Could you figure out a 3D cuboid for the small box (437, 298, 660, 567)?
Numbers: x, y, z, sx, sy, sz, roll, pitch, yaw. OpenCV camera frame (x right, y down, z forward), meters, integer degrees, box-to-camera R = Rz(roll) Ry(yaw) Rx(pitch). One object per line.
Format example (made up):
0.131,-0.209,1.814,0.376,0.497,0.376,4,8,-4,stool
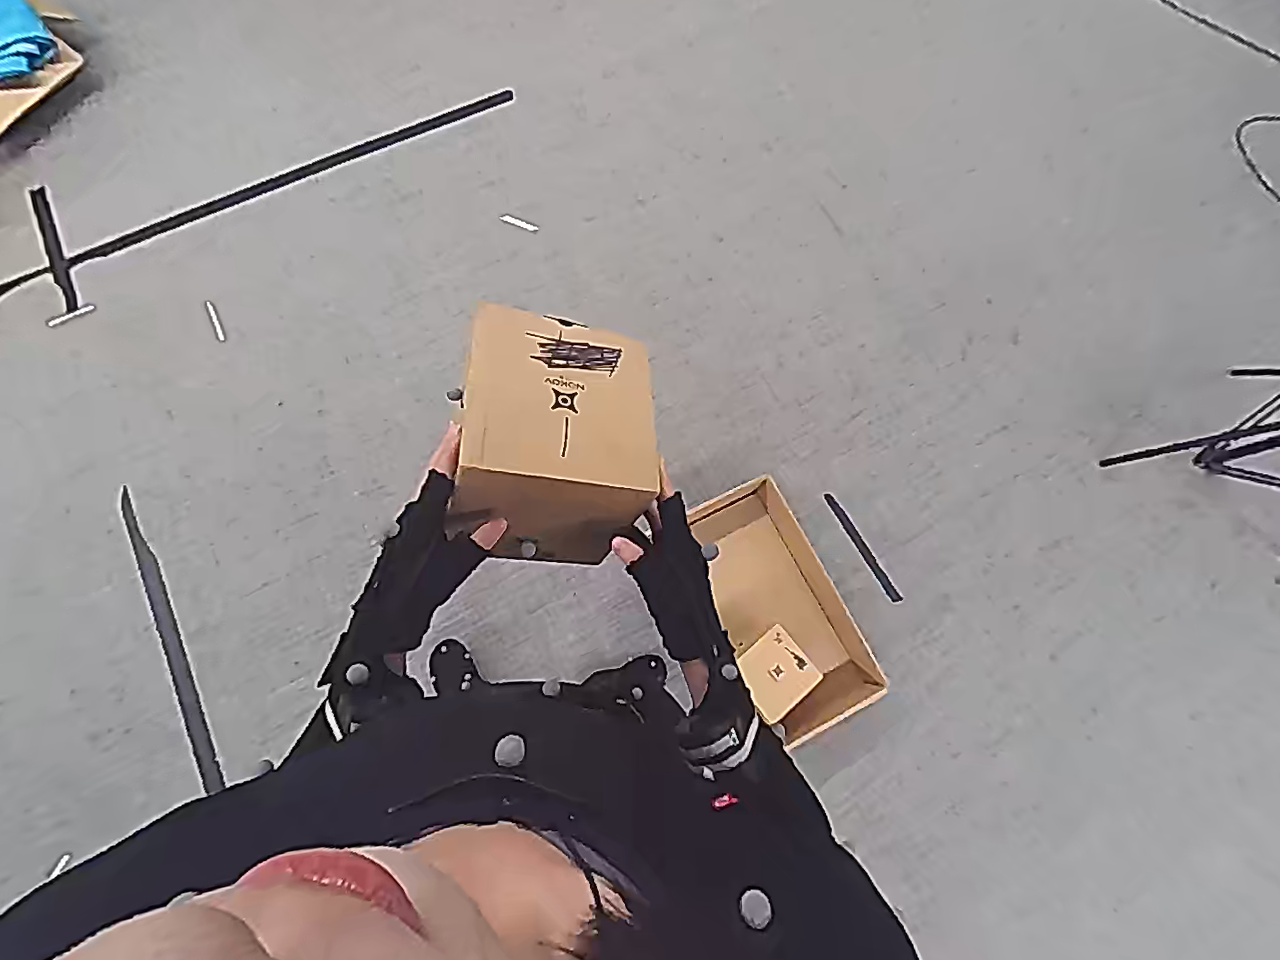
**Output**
-0.096,-0.034,0.517,0.168,0.176,0.179,7,57,-21,small box

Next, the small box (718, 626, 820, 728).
0.314,0.488,1.362,0.179,0.176,0.168,-38,79,-11,small box
